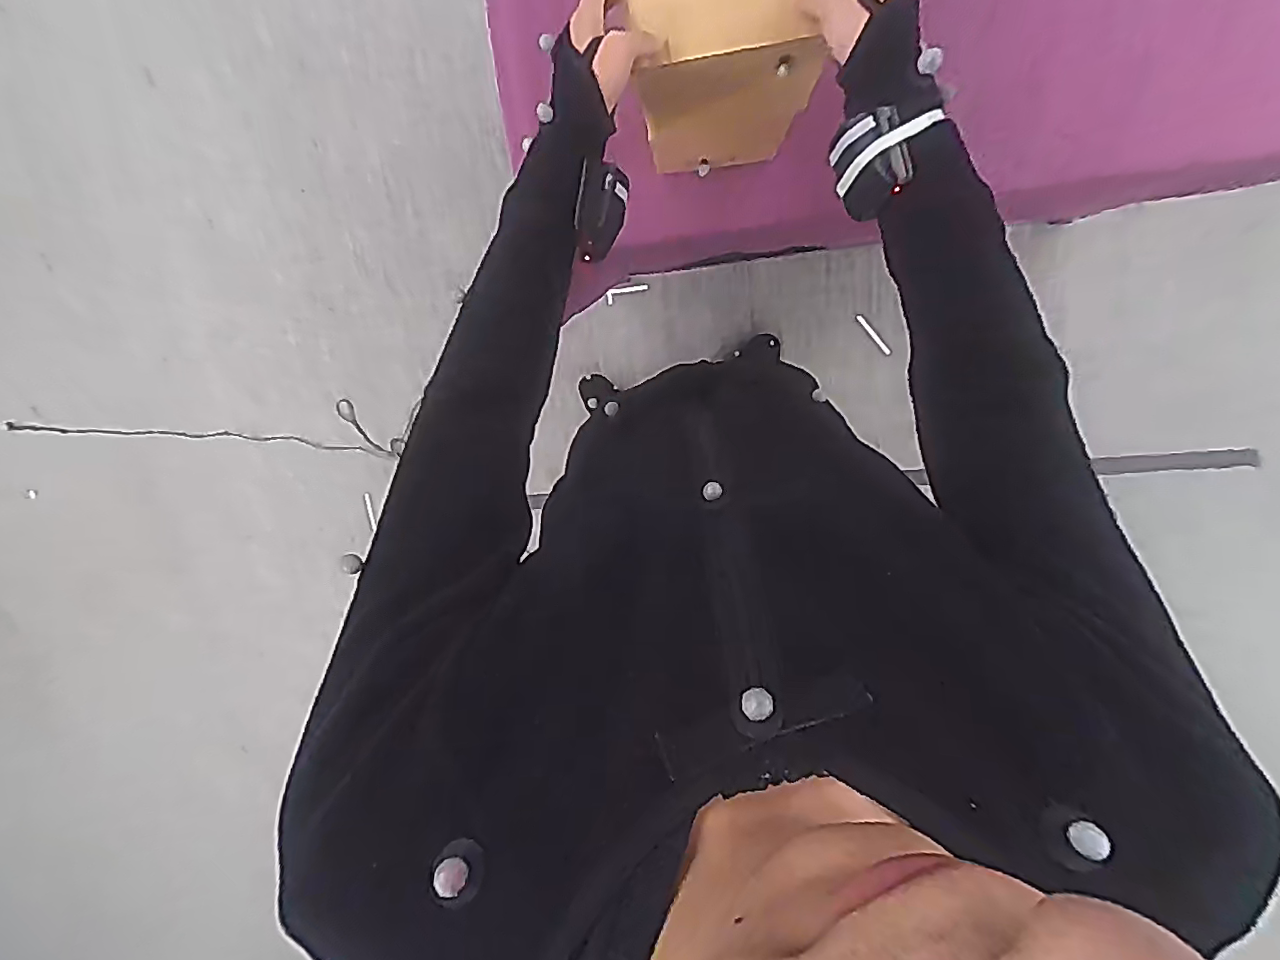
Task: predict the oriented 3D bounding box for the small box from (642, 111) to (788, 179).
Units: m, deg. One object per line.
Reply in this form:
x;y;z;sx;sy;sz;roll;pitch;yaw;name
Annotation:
0.084;-0.493;0.659;0.168;0.176;0.179;-4;105;8;small box

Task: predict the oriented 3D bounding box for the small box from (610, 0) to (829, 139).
0.068;-0.446;0.505;0.179;0.176;0.168;-5;104;8;small box
